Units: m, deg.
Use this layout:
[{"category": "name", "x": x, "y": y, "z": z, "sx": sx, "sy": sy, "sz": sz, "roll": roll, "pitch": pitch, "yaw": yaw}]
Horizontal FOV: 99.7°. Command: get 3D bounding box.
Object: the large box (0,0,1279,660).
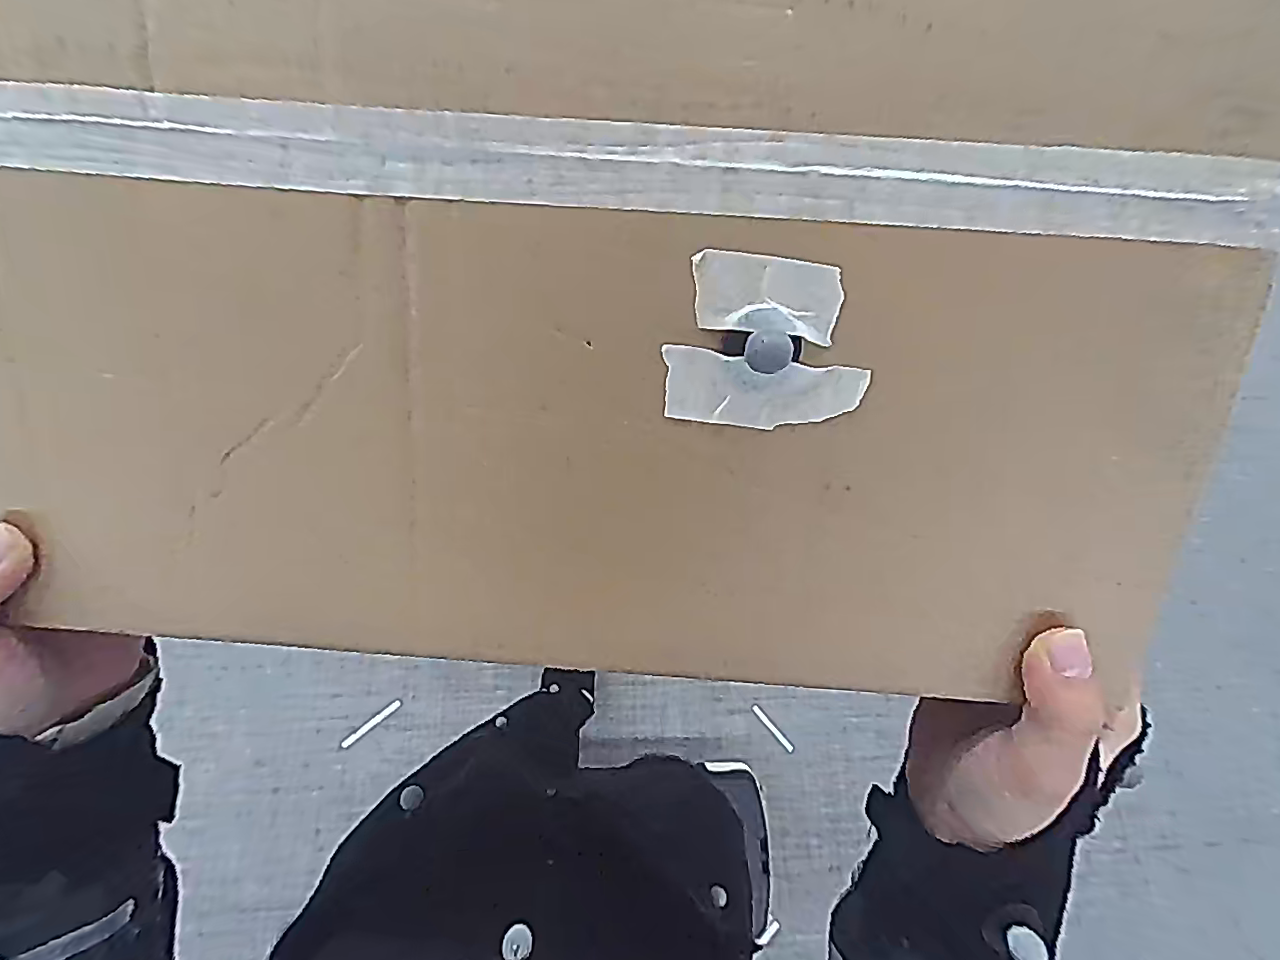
[{"category": "large box", "x": -0.023, "y": -0.125, "z": 0.308, "sx": 0.408, "sy": 0.320, "sz": 0.320, "roll": 4, "pitch": 104, "yaw": 0}]
